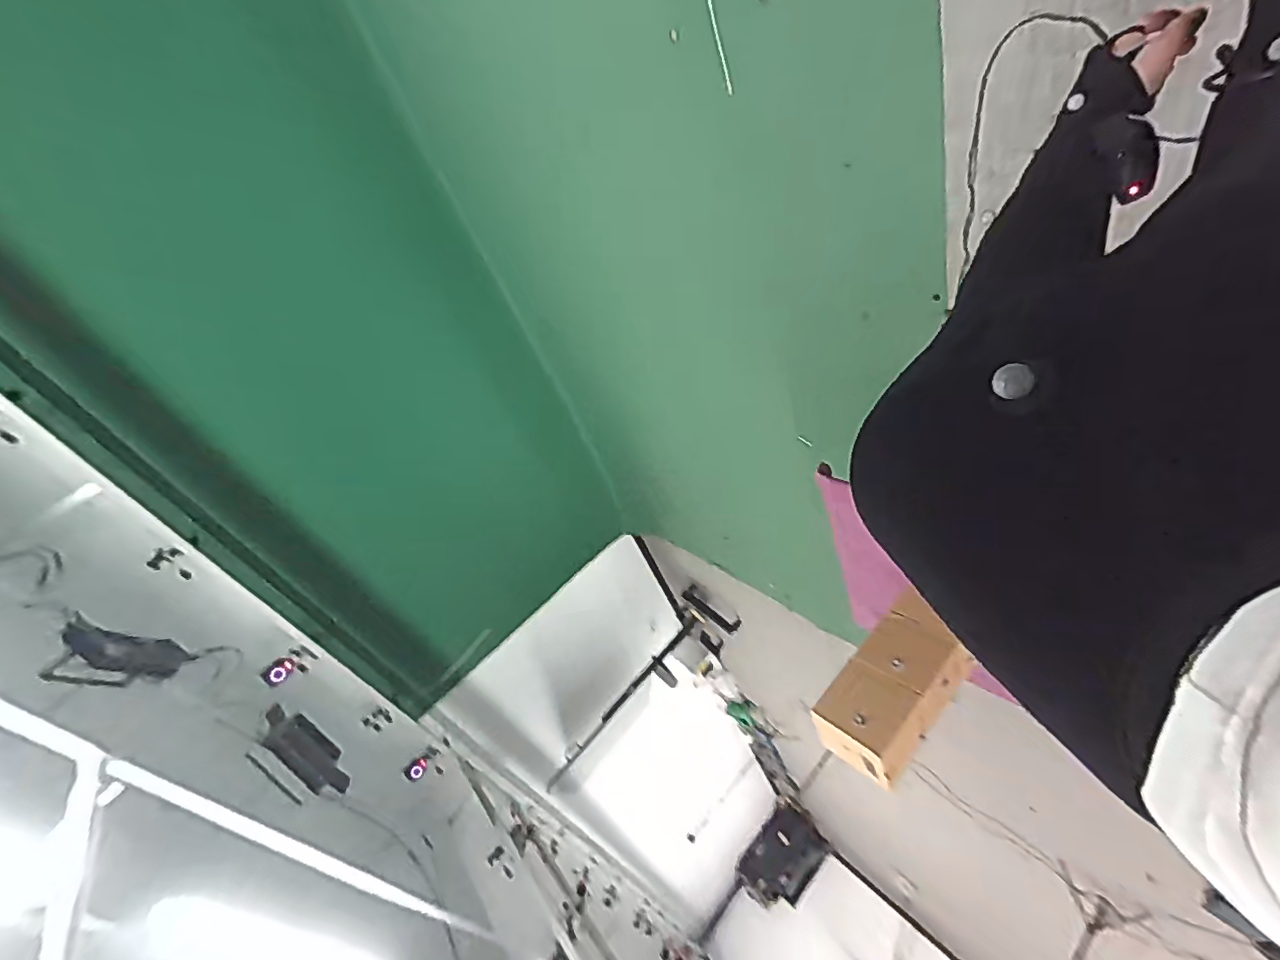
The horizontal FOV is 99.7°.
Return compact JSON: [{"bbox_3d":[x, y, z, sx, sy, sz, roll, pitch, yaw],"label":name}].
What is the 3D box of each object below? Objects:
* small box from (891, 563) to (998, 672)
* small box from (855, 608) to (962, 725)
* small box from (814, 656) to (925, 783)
[{"bbox_3d":[0.763,0.334,1.353,0.179,0.176,0.168,23,148,49],"label":"small box"},{"bbox_3d":[0.649,0.438,1.298,0.179,0.176,0.168,24,148,48],"label":"small box"},{"bbox_3d":[0.534,0.541,1.243,0.179,0.176,0.168,23,147,49],"label":"small box"}]
